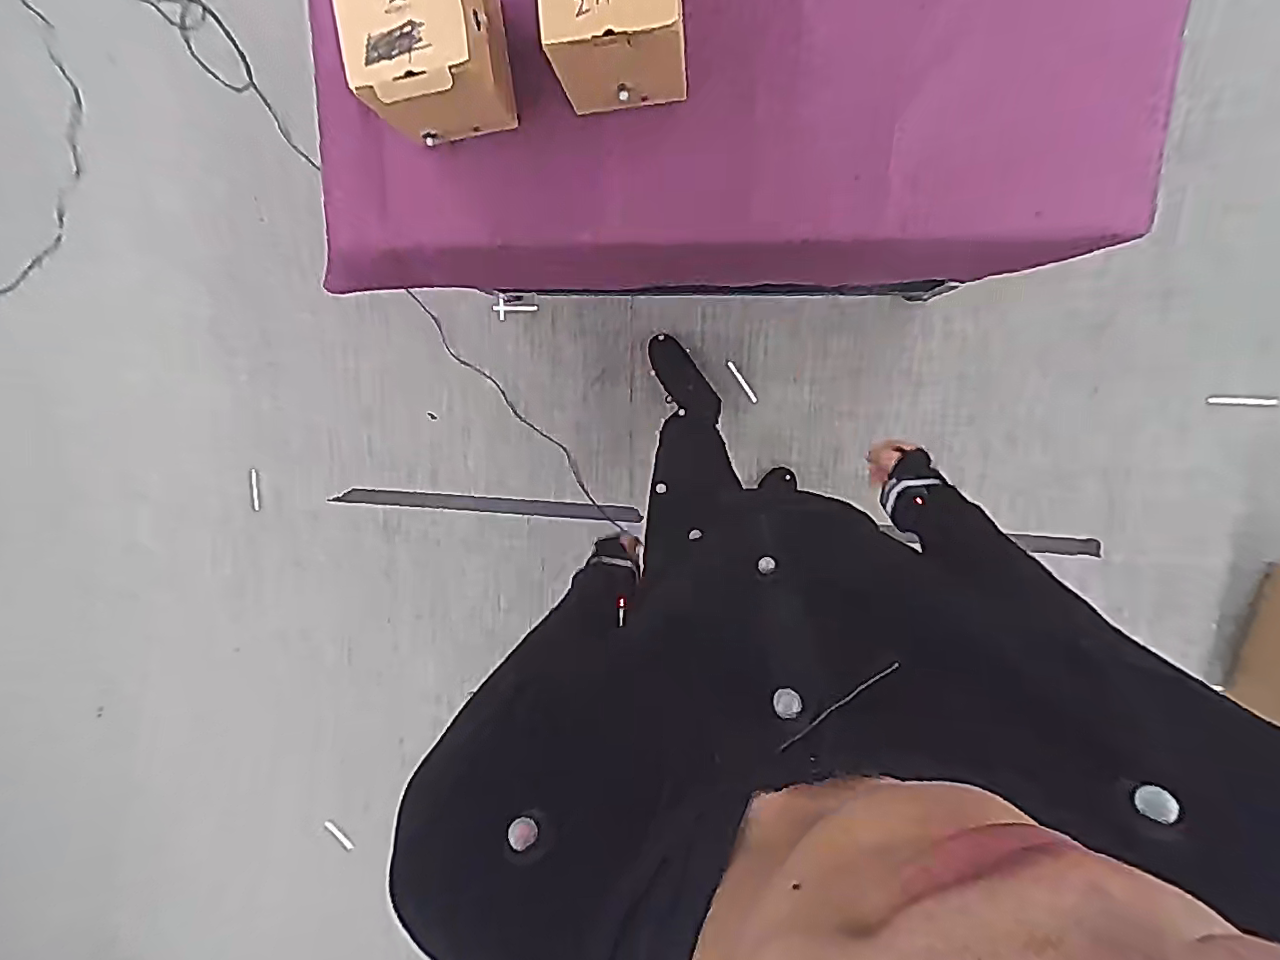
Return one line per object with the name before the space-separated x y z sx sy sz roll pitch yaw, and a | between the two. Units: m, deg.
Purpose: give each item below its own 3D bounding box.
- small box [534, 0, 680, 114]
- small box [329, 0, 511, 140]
small box | -0.036 -0.617 0.699 0.168 0.176 0.179 -2 100 8
small box | -0.289 -0.594 0.736 0.168 0.176 0.179 -6 98 8
